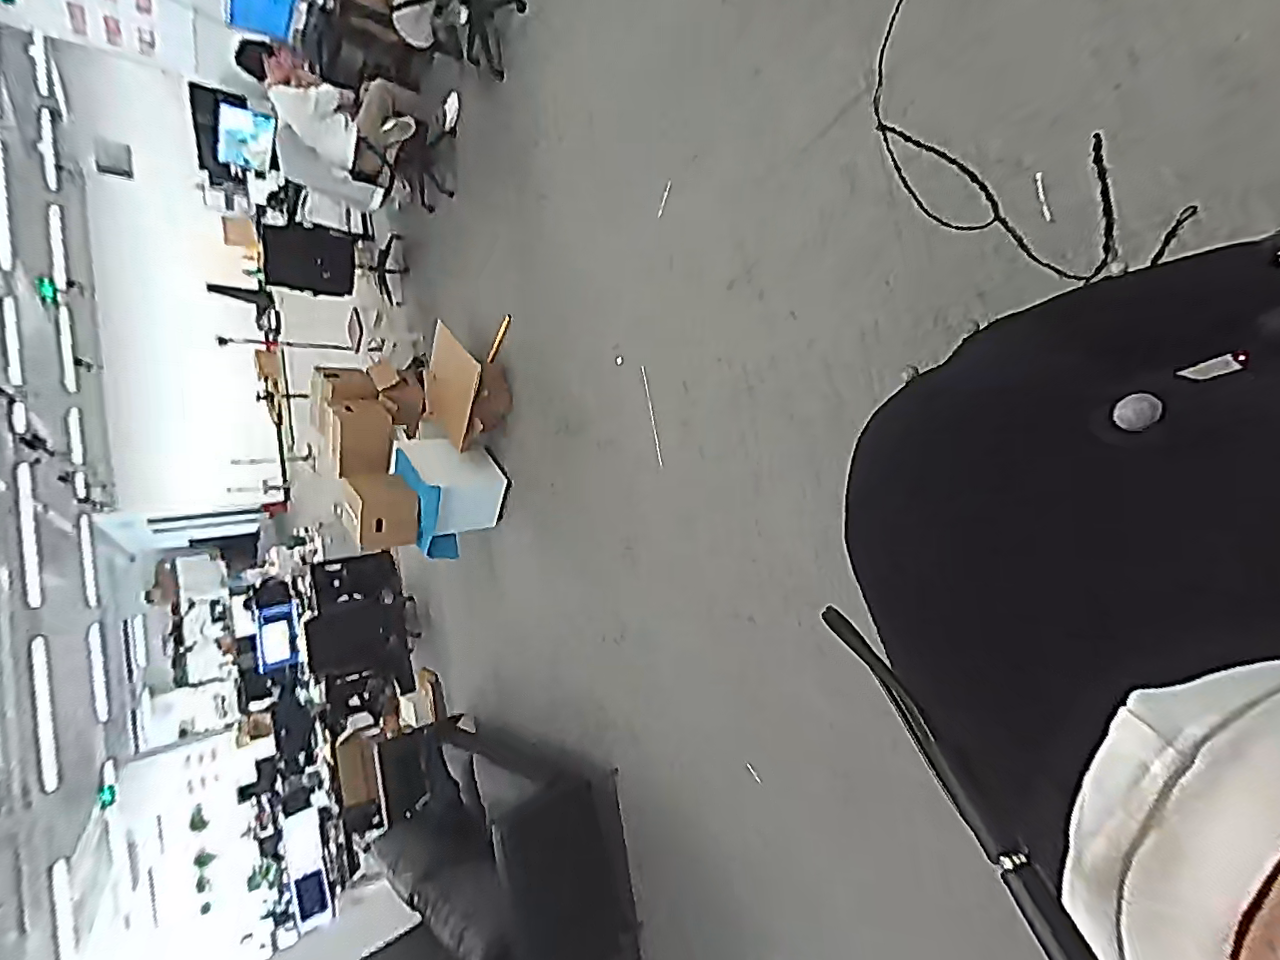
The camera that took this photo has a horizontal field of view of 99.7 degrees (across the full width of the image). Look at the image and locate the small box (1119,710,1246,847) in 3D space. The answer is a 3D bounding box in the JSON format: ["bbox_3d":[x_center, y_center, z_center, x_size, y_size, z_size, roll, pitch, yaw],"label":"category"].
[{"bbox_3d":[1.120,0.599,1.118,0.168,0.176,0.179,-9,87,49],"label":"small box"}]
